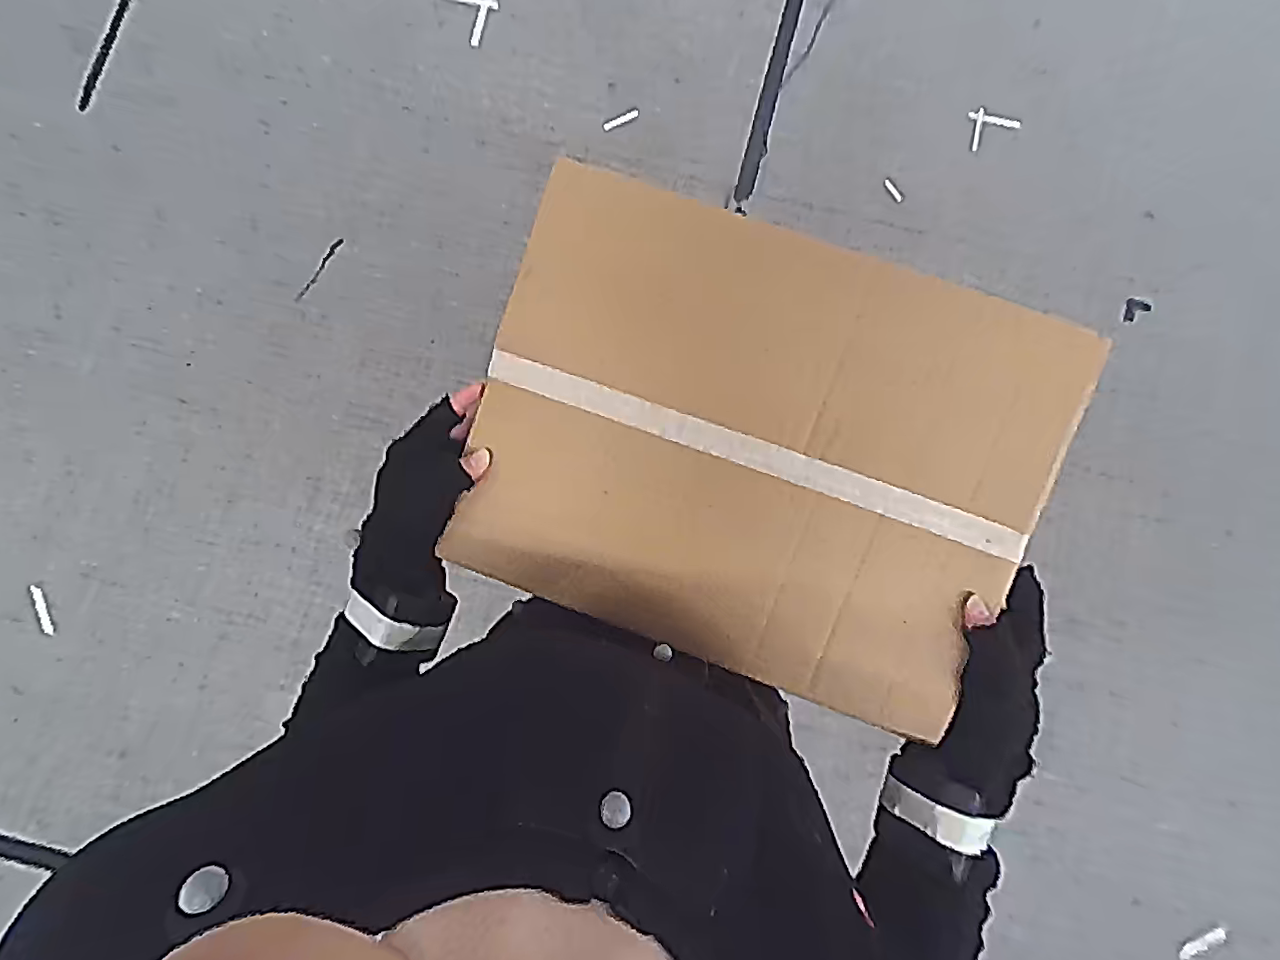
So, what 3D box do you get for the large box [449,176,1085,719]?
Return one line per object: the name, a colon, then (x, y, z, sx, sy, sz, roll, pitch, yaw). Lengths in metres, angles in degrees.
large box: (0.092, -0.035, 0.554, 0.408, 0.320, 0.320, 20, 96, 4)
